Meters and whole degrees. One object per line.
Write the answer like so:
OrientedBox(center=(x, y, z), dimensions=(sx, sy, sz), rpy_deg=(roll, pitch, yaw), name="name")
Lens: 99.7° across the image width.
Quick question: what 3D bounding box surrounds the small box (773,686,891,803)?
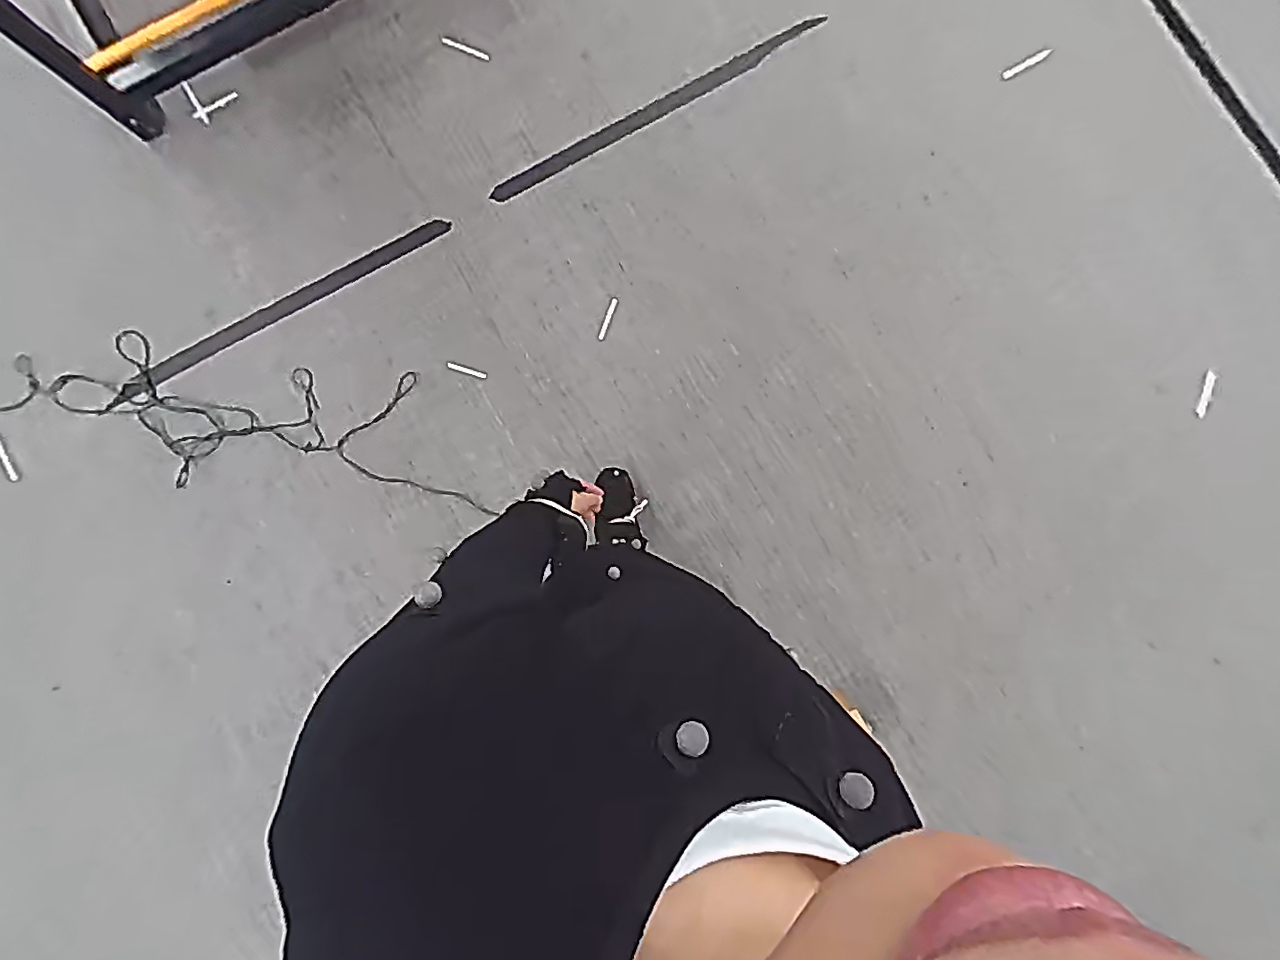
OrientedBox(center=(0.448, 0.624, 1.279), dimensions=(0.179, 0.176, 0.168), rpy_deg=(-29, 86, -2), name="small box")
